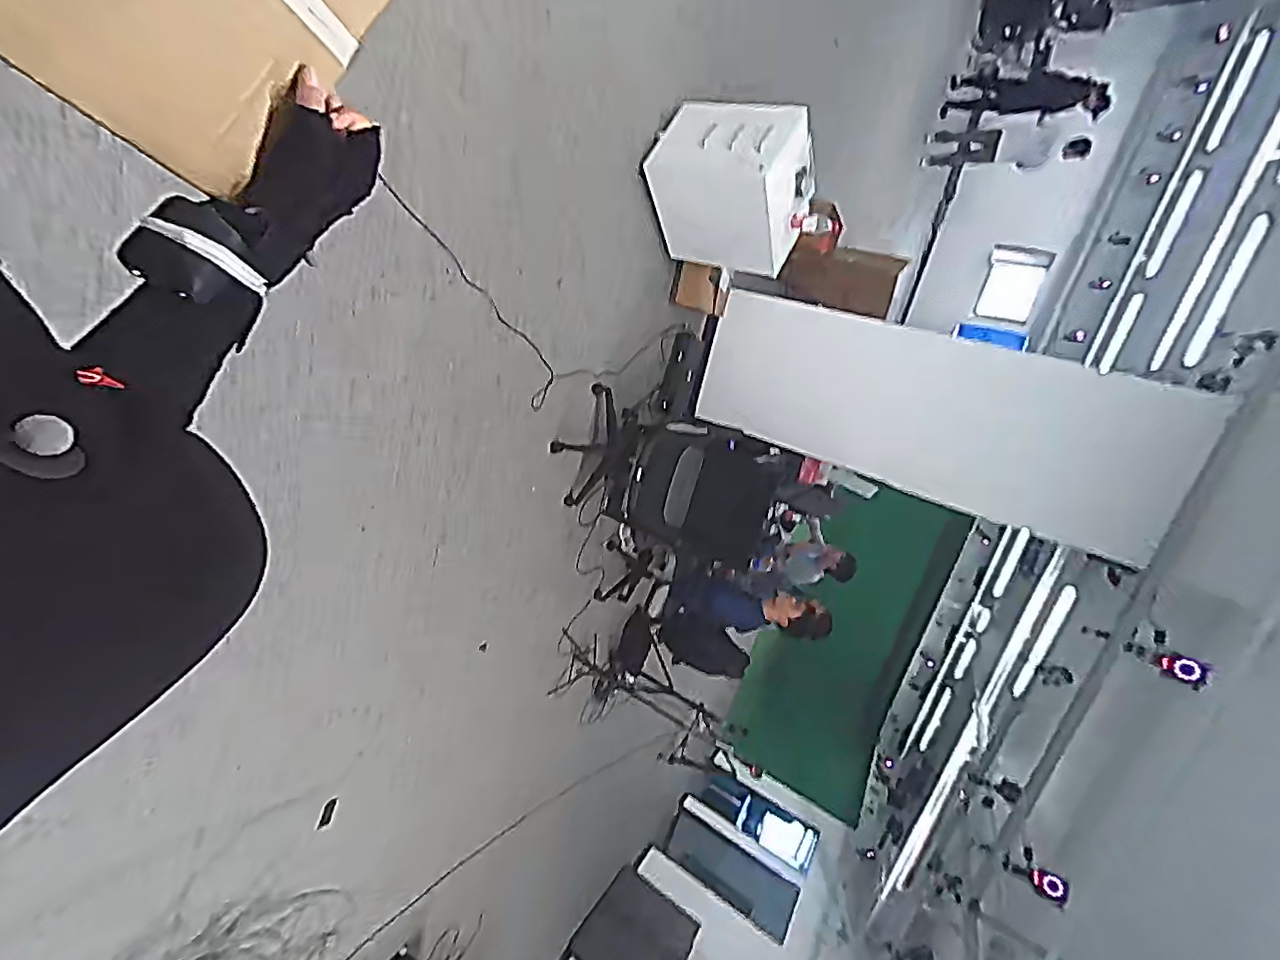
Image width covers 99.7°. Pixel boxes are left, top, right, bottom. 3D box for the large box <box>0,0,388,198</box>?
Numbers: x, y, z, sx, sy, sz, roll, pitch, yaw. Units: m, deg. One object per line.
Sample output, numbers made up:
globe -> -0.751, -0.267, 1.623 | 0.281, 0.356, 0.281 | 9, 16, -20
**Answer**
large box -> -0.421, -0.479, 0.333 | 0.320, 0.320, 0.408 | -53, 153, 2
